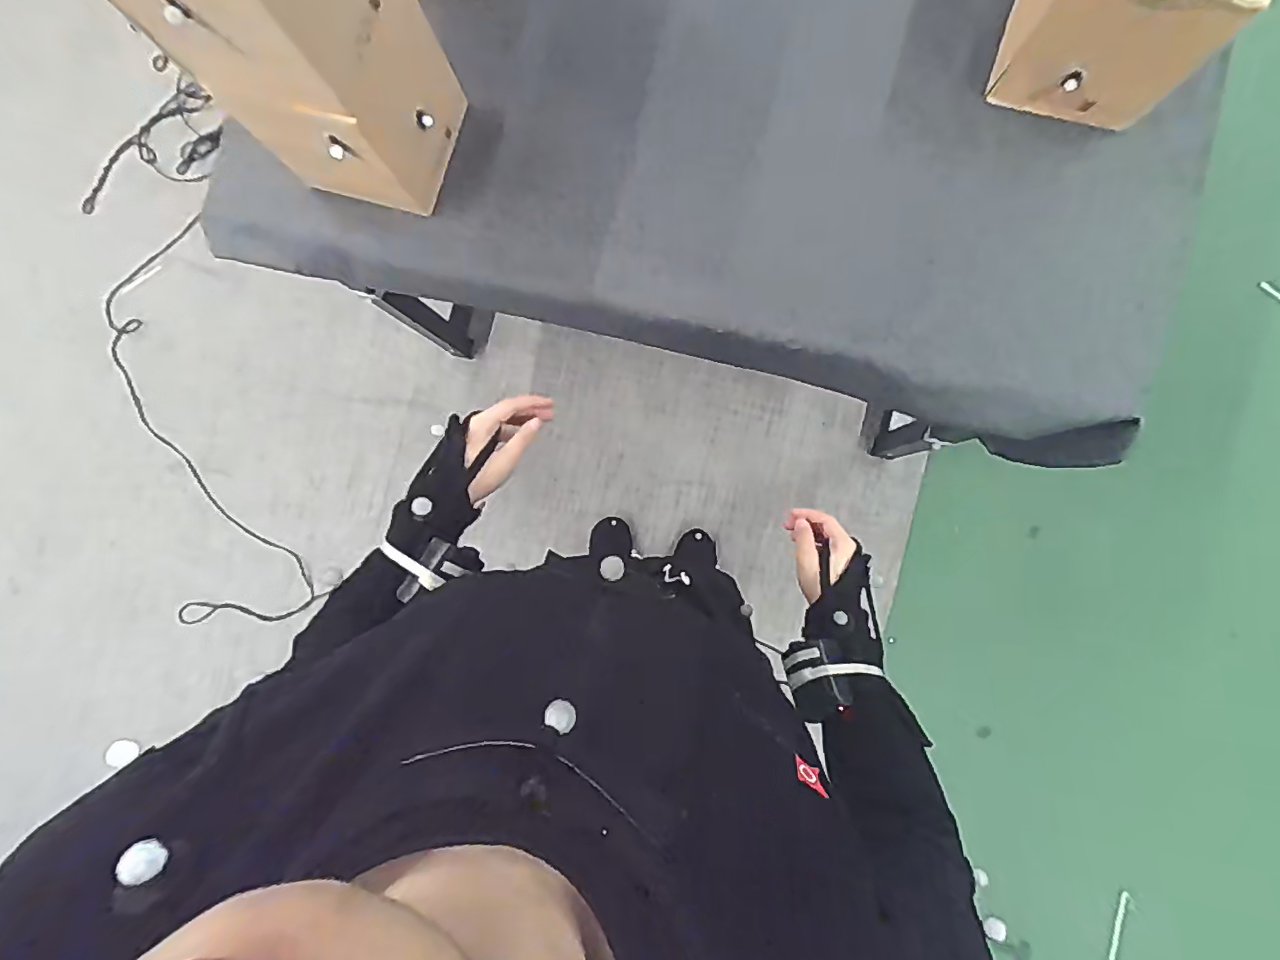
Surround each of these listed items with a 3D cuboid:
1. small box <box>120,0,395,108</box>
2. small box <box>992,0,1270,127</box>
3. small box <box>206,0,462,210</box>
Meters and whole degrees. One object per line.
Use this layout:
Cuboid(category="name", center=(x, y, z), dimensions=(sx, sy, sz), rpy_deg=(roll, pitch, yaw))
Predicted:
Cuboid(category="small box", center=(-0.347, -0.464, 0.467), dimensions=(0.179, 0.176, 0.168), rpy_deg=(13, 87, 5))
Cuboid(category="small box", center=(0.511, -0.522, 0.565), dimensions=(0.168, 0.176, 0.179), rpy_deg=(17, 91, 6))
Cuboid(category="small box", center=(-0.334, -0.447, 0.629), dimensions=(0.179, 0.176, 0.168), rpy_deg=(16, 86, 5))
